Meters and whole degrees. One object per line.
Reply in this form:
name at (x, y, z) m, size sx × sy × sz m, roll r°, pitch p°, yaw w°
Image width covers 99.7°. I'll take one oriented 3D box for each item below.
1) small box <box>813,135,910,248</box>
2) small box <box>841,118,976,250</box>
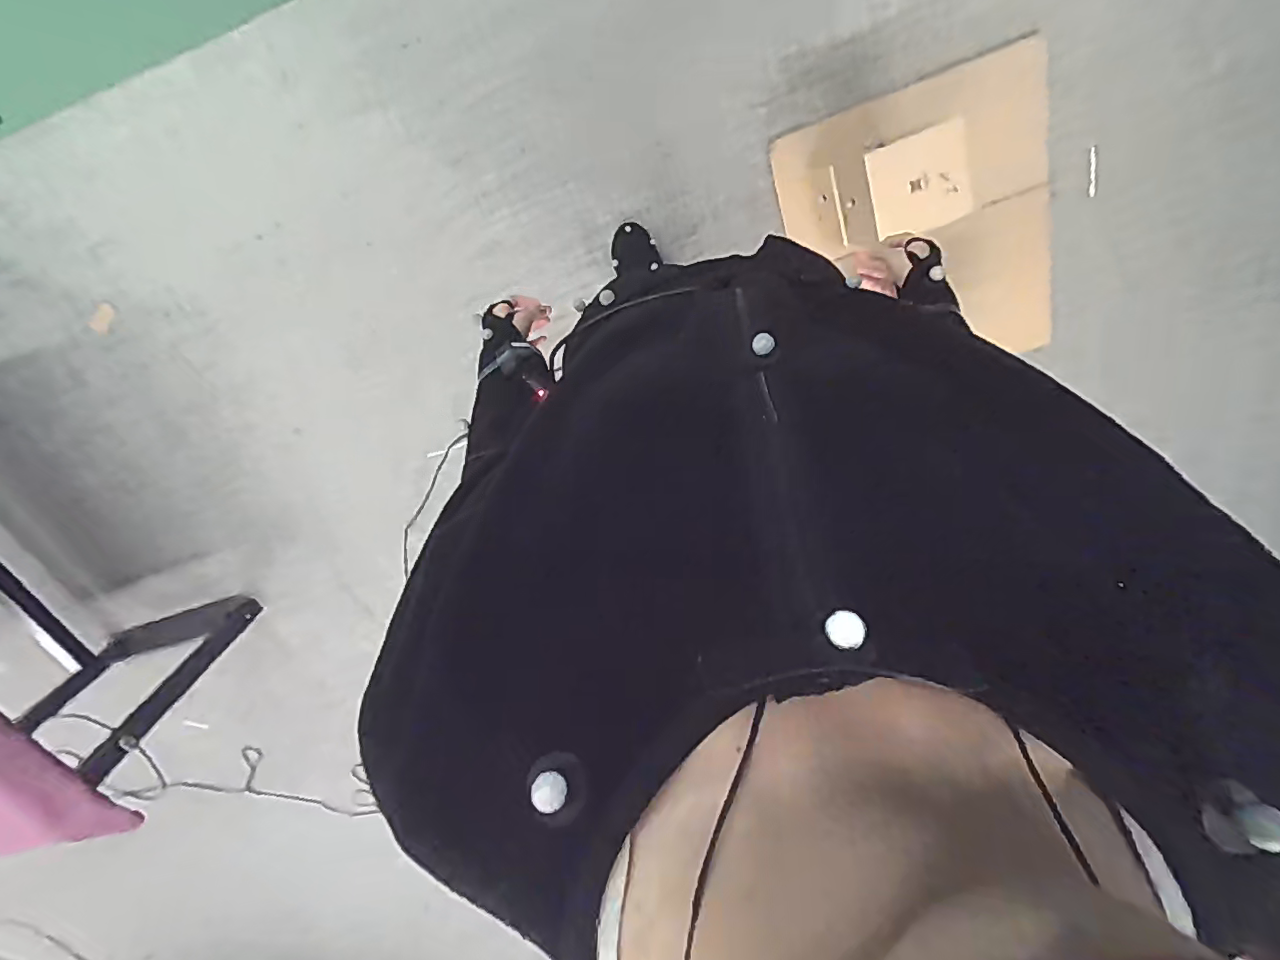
small box at (0.495, -0.625, 1.188) m, size 0.179 × 0.176 × 0.168 m, roll -20°, pitch 115°, yaw 7°
small box at (0.504, -0.557, 1.038) m, size 0.179 × 0.176 × 0.168 m, roll -19°, pitch 115°, yaw 7°
